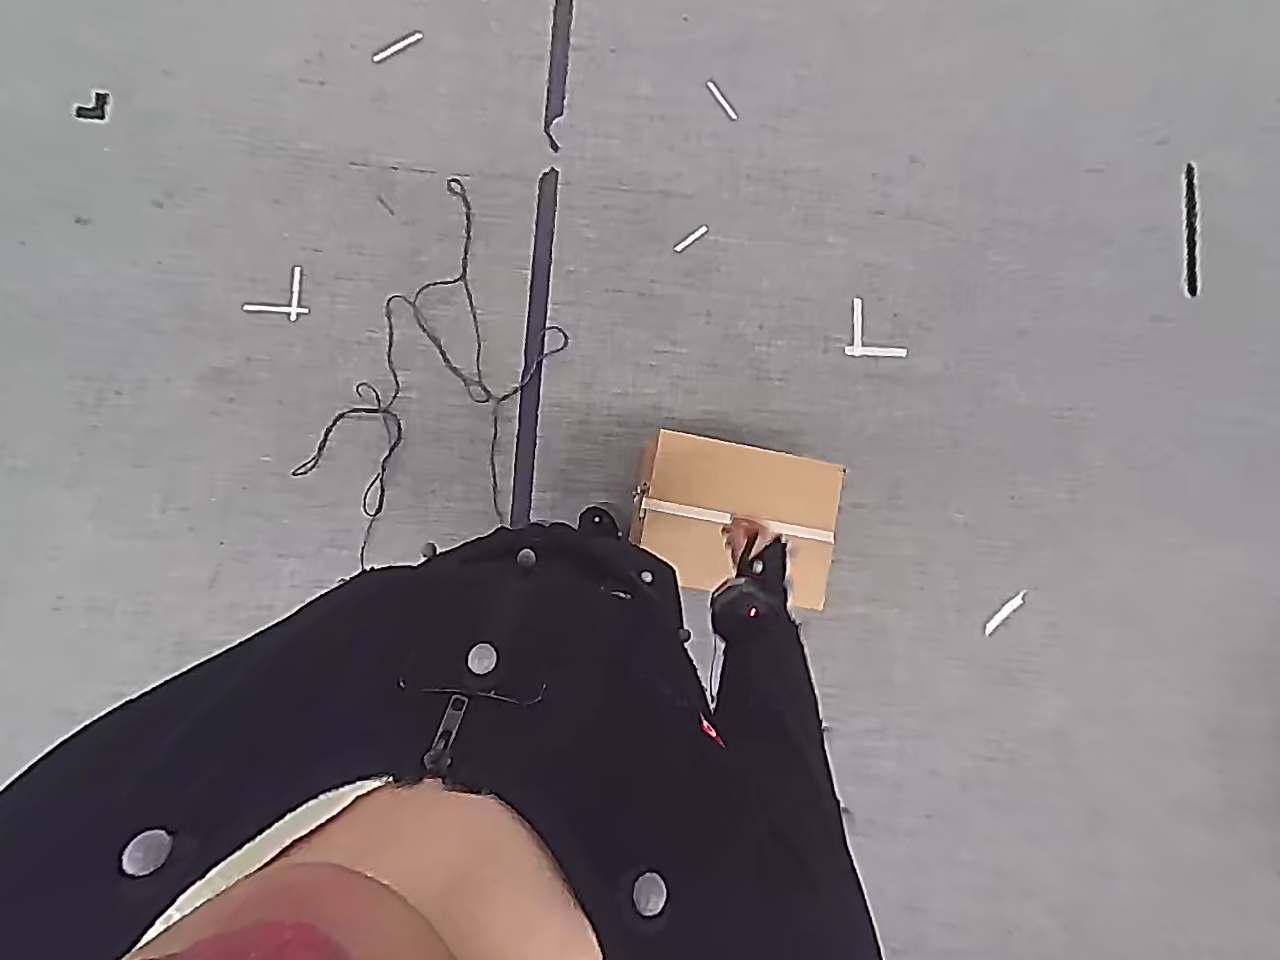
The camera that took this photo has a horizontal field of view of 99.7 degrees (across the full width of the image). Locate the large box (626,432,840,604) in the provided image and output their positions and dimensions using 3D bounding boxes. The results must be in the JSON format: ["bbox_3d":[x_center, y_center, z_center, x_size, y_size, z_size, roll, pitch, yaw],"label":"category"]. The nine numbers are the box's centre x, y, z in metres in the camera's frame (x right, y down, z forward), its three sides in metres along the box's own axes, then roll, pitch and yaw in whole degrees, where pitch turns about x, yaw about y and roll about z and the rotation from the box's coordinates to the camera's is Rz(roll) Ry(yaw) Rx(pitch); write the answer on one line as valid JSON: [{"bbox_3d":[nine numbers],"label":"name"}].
[{"bbox_3d":[0.195,0.088,1.273,0.408,0.320,0.320,10,87,-6],"label":"large box"}]
